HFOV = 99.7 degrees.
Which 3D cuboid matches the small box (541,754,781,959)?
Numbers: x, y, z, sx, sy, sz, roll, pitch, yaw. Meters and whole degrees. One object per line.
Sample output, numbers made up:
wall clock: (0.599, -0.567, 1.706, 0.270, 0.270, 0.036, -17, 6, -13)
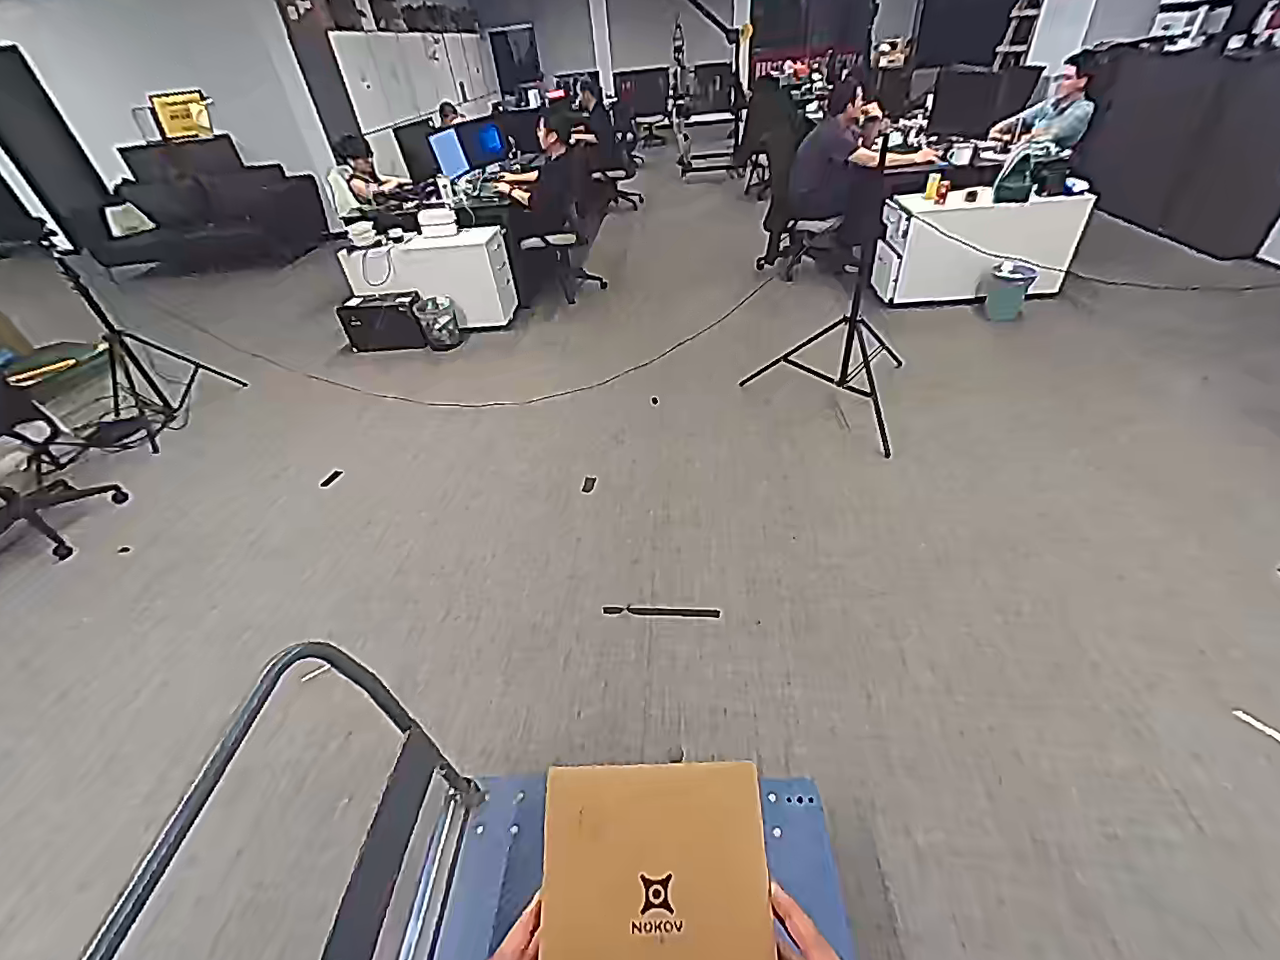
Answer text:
small box: (0.013, 0.331, 0.451, 0.168, 0.176, 0.179, -2, 63, -1)
